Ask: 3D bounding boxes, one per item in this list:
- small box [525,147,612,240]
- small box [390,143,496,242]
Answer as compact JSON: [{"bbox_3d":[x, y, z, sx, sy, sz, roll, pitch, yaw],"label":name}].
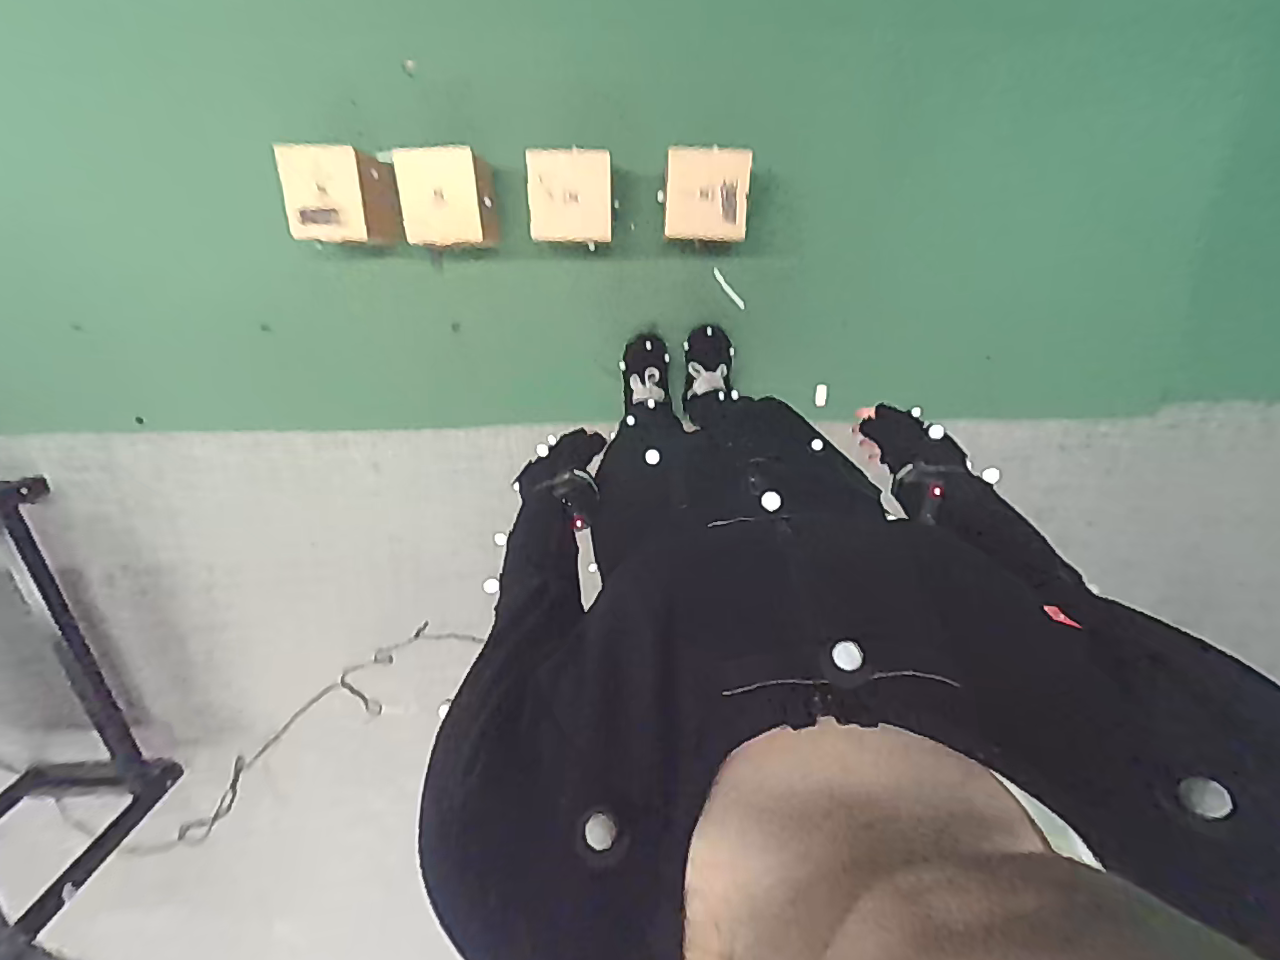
[{"bbox_3d":[-0.152,-0.629,1.202,0.179,0.176,0.168,1,111,-1],"label":"small box"},{"bbox_3d":[-0.427,-0.631,1.203,0.168,0.176,0.179,-2,112,0],"label":"small box"}]
